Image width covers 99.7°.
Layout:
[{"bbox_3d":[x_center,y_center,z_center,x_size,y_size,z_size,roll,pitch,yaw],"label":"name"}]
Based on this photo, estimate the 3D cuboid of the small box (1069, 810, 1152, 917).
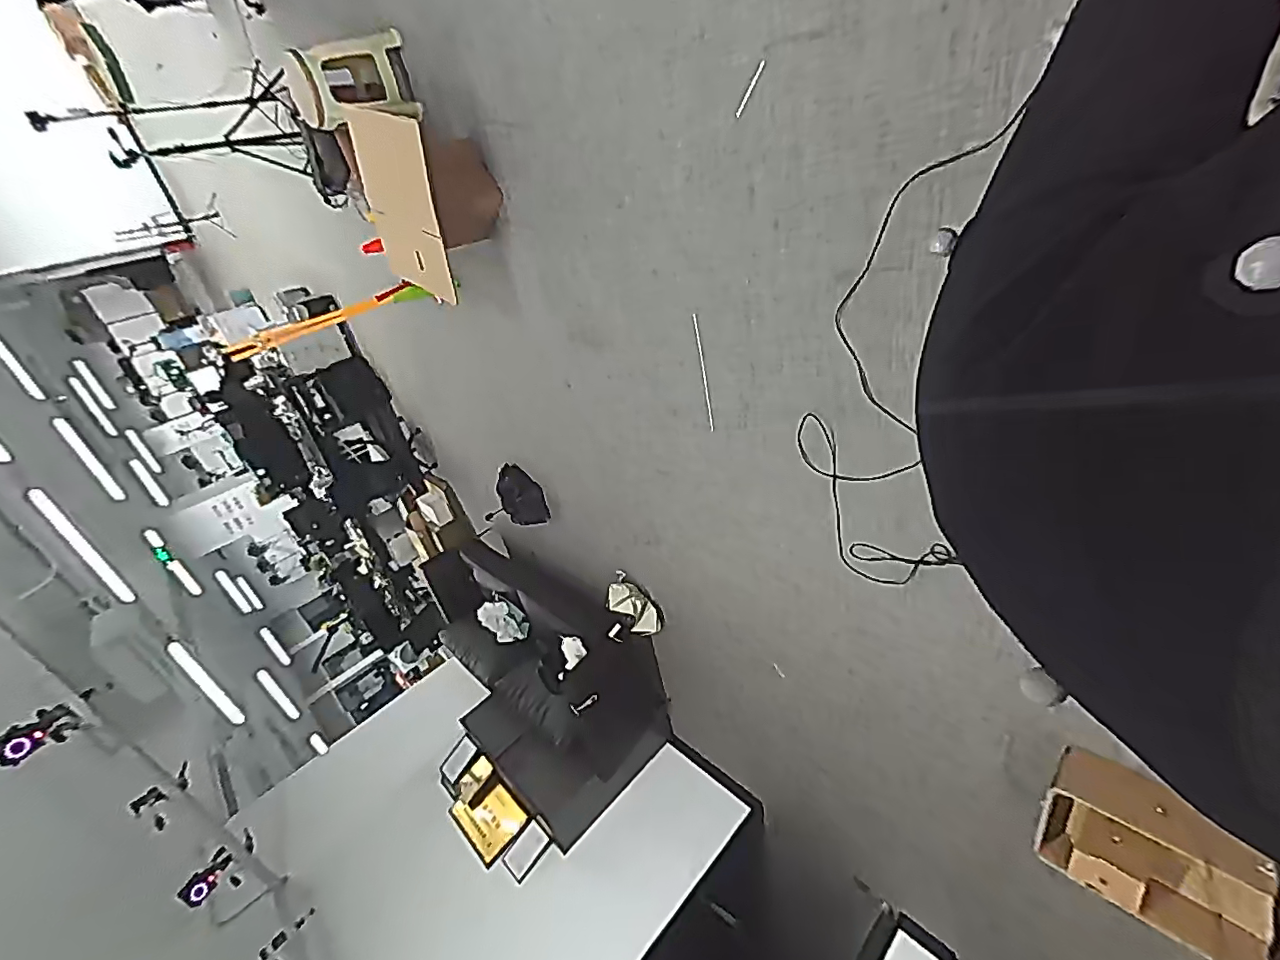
[{"bbox_3d":[1.436,1.159,1.650,0.168,0.176,0.179,12,128,45],"label":"small box"}]
